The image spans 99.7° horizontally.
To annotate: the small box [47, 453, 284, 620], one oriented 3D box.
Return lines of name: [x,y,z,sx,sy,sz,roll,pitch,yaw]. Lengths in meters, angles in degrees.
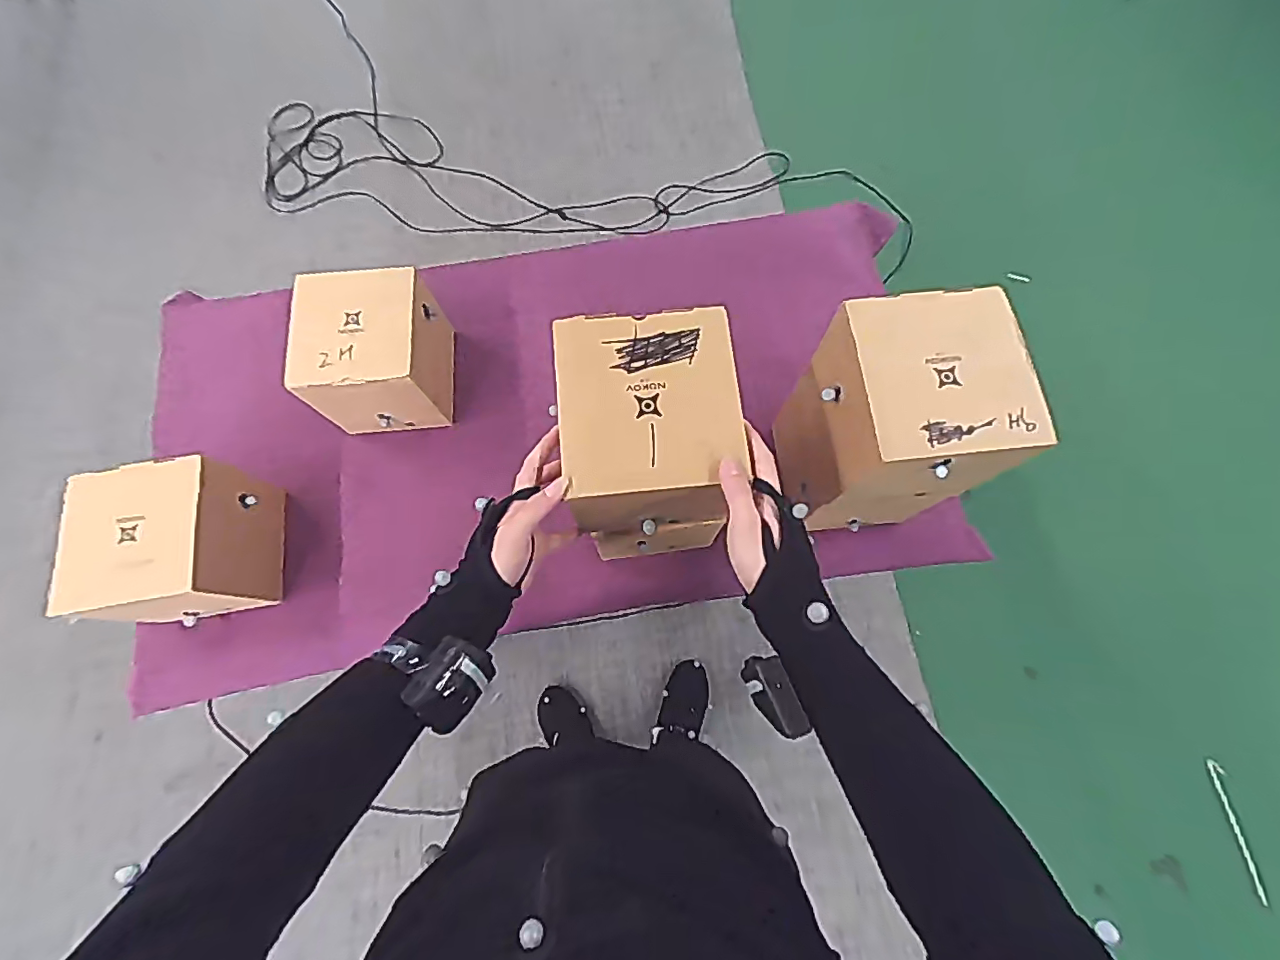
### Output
small box: [-0.611,0.083,0.724,0.168,0.176,0.179,-9,73,-2]

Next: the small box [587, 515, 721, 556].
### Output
small box: [0.011,0.004,0.747,0.168,0.176,0.179,-7,72,-2]

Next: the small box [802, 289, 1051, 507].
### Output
small box: [0.290,-0.081,0.595,0.168,0.176,0.179,-6,72,0]

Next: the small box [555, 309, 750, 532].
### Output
small box: [0.007,-0.051,0.563,0.168,0.176,0.179,-5,75,-1]

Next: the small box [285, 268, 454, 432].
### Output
small box: [-0.386,-0.186,0.804,0.168,0.176,0.179,-4,74,-1]
